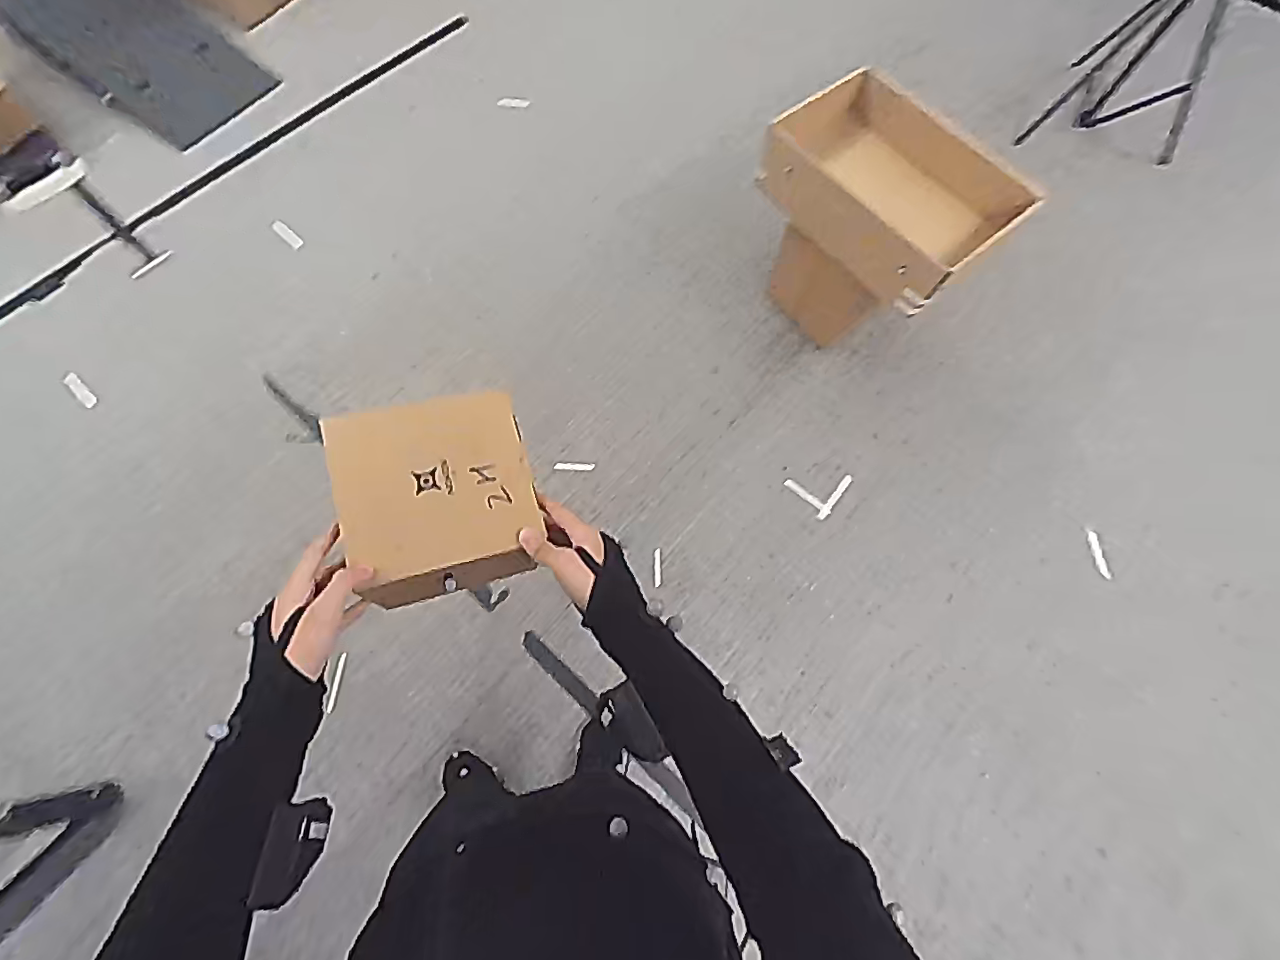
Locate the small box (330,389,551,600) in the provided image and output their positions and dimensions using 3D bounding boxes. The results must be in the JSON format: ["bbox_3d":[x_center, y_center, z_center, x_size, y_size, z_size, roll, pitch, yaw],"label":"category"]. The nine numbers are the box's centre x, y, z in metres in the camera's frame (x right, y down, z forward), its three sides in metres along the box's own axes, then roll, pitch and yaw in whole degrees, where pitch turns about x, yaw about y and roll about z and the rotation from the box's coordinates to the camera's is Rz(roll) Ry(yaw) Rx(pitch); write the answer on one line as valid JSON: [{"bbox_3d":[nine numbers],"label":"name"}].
[{"bbox_3d":[-0.204,0.023,0.581,0.179,0.176,0.168,-13,76,-19],"label":"small box"}]
